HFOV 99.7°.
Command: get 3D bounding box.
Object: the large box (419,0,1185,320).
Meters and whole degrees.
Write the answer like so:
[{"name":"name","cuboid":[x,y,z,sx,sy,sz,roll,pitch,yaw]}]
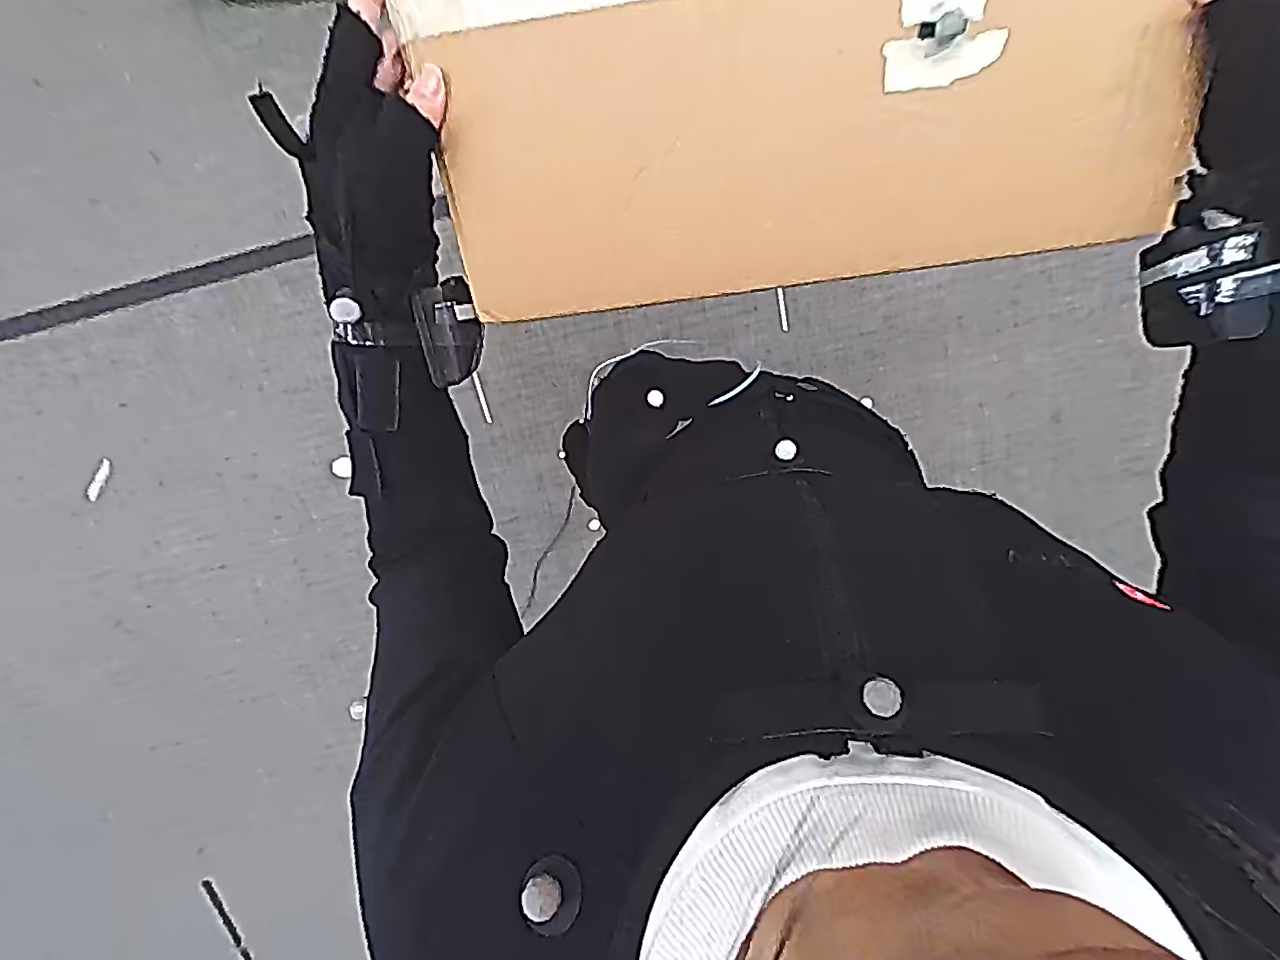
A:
[{"name":"large box","cuboid":[0.080,-0.329,0.411,0.408,0.320,0.320,-7,115,4]}]
